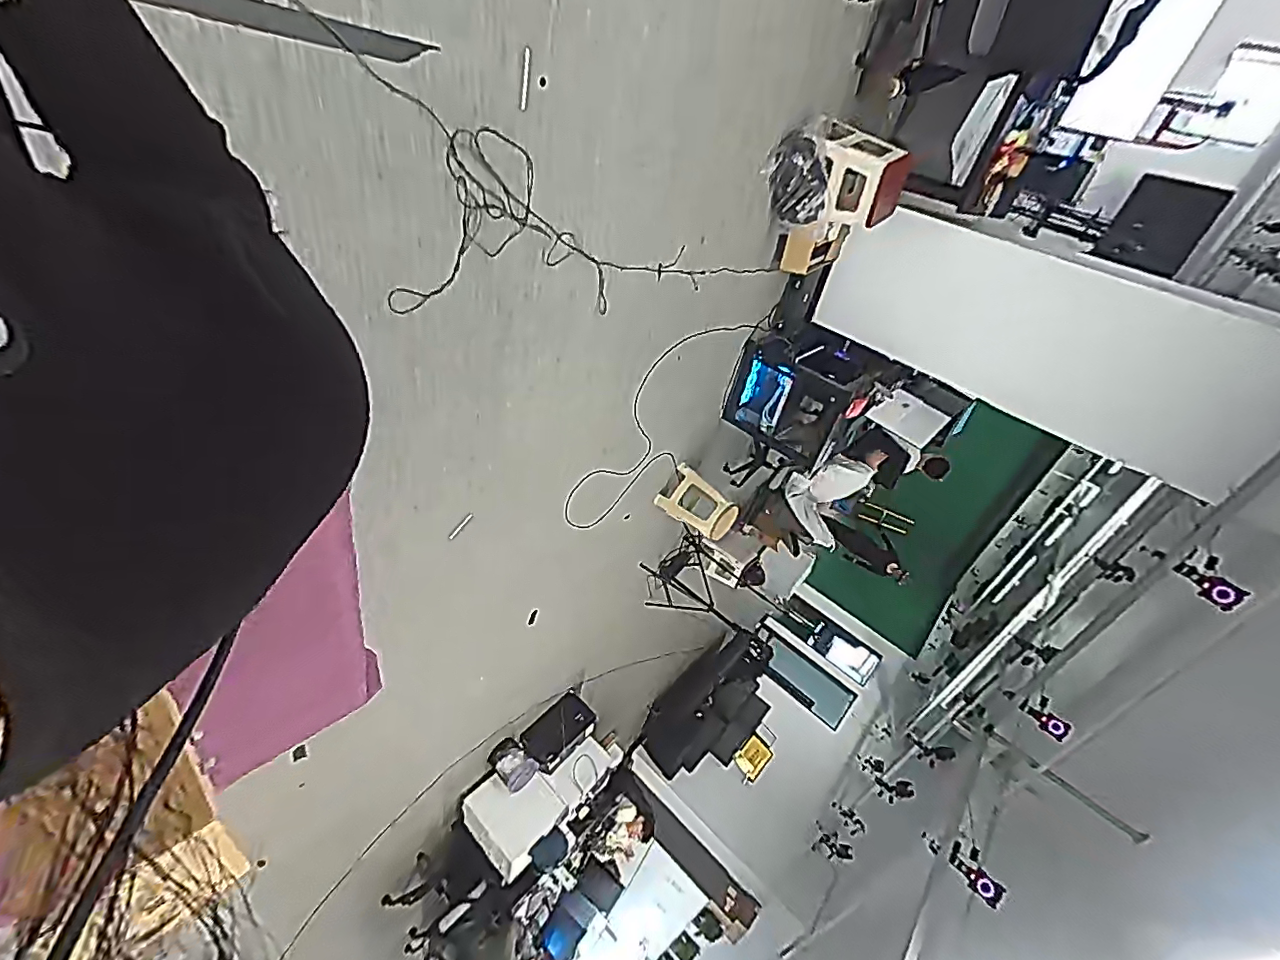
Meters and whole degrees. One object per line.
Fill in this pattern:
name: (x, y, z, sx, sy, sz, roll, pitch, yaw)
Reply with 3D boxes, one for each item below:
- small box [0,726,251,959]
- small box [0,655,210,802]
small box: (-0.622, 0.439, 0.663, 0.168, 0.176, 0.179, -29, 144, -42)
small box: (-0.747, 0.373, 0.751, 0.168, 0.176, 0.179, -27, 144, -43)
